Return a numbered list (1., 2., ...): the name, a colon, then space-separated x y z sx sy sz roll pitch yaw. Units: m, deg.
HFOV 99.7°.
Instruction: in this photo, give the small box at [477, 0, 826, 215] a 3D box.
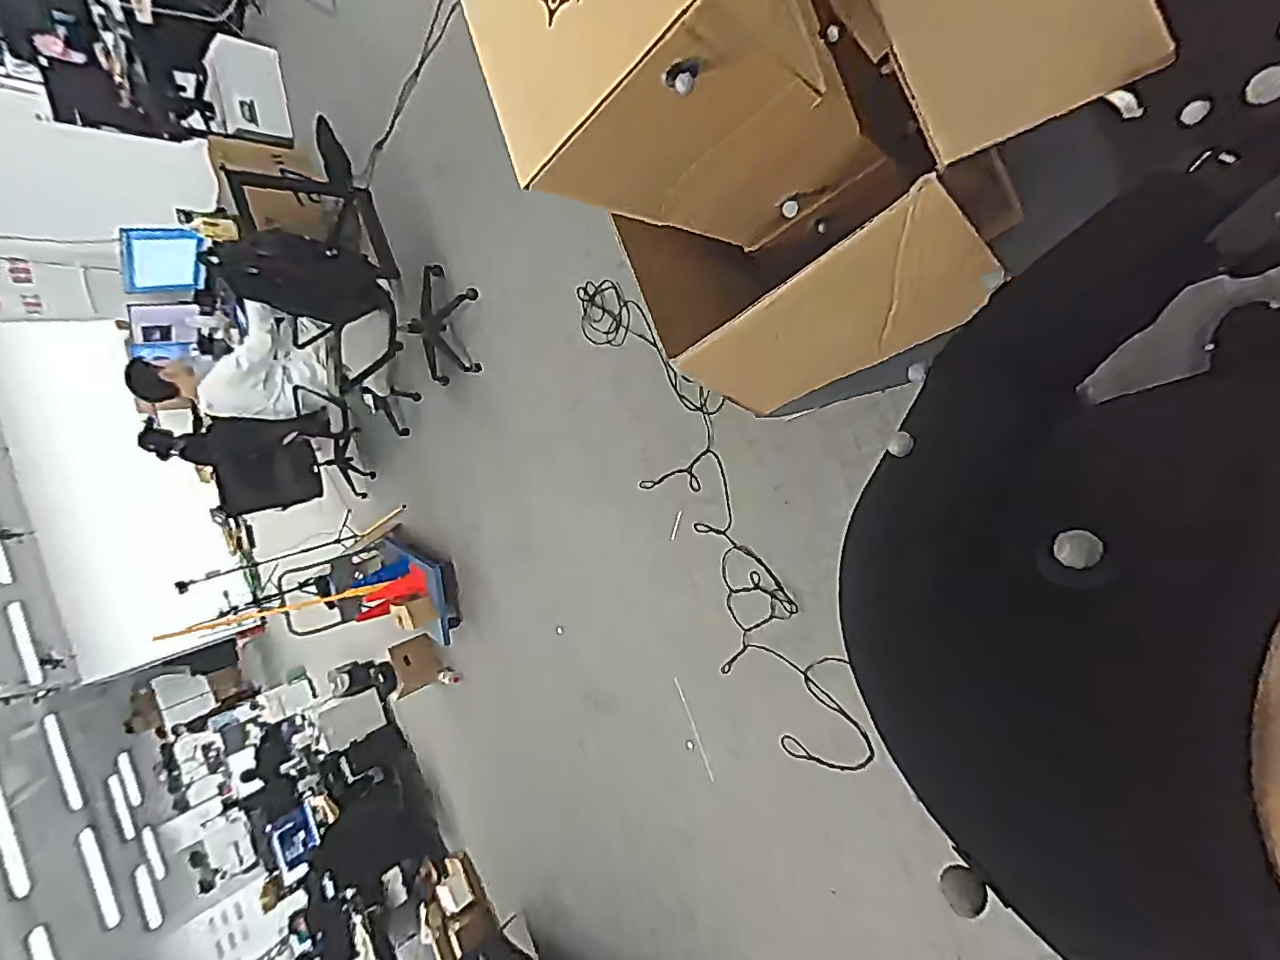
1. small box: 0.010 -0.332 0.412 0.179 0.176 0.168 -20 87 42
